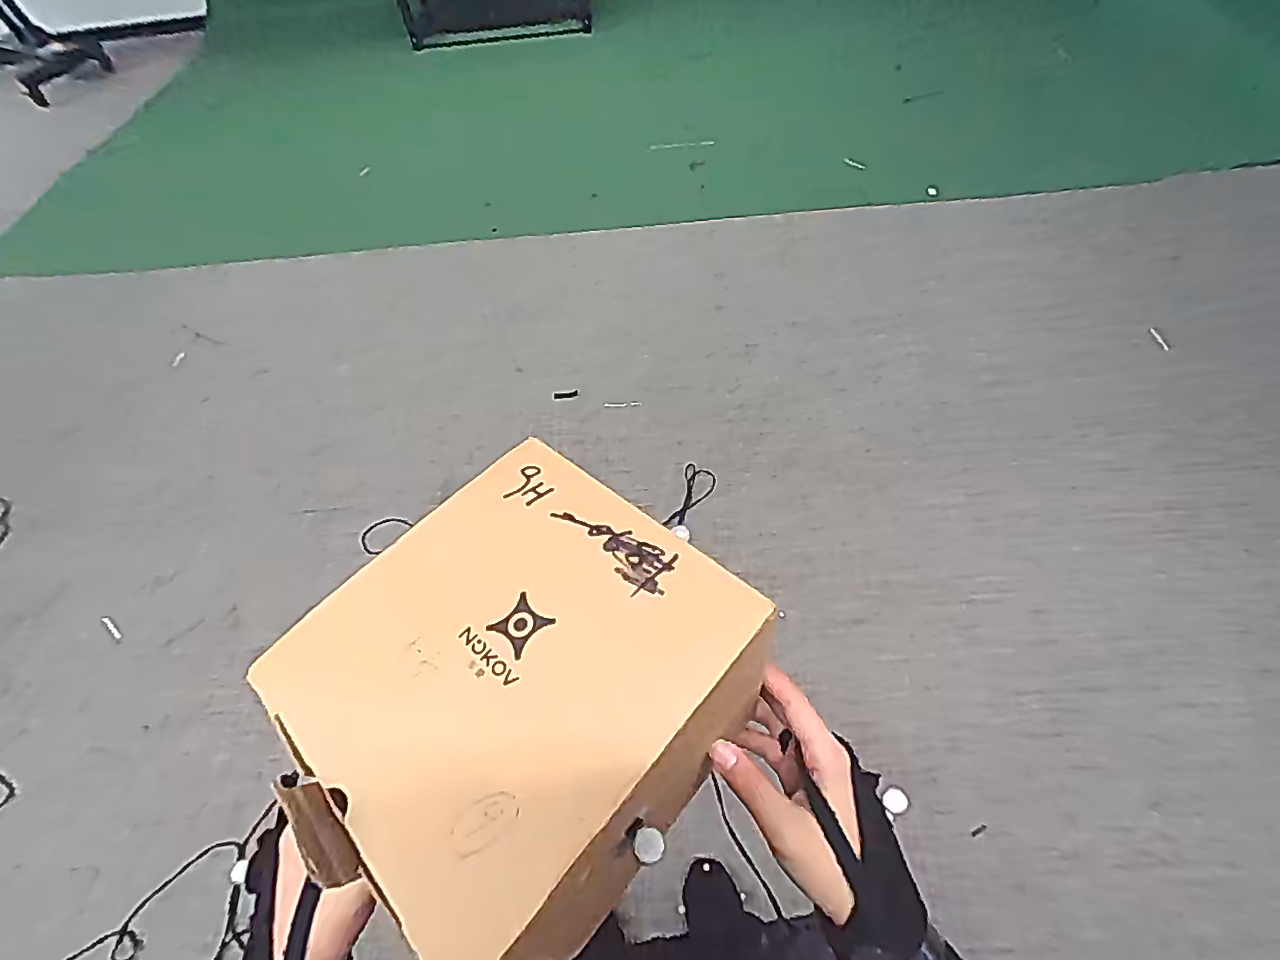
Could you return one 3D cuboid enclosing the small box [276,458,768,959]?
[{"bbox_3d":[-0.045,0.128,0.309,0.168,0.176,0.179,33,64,28],"label":"small box"}]
